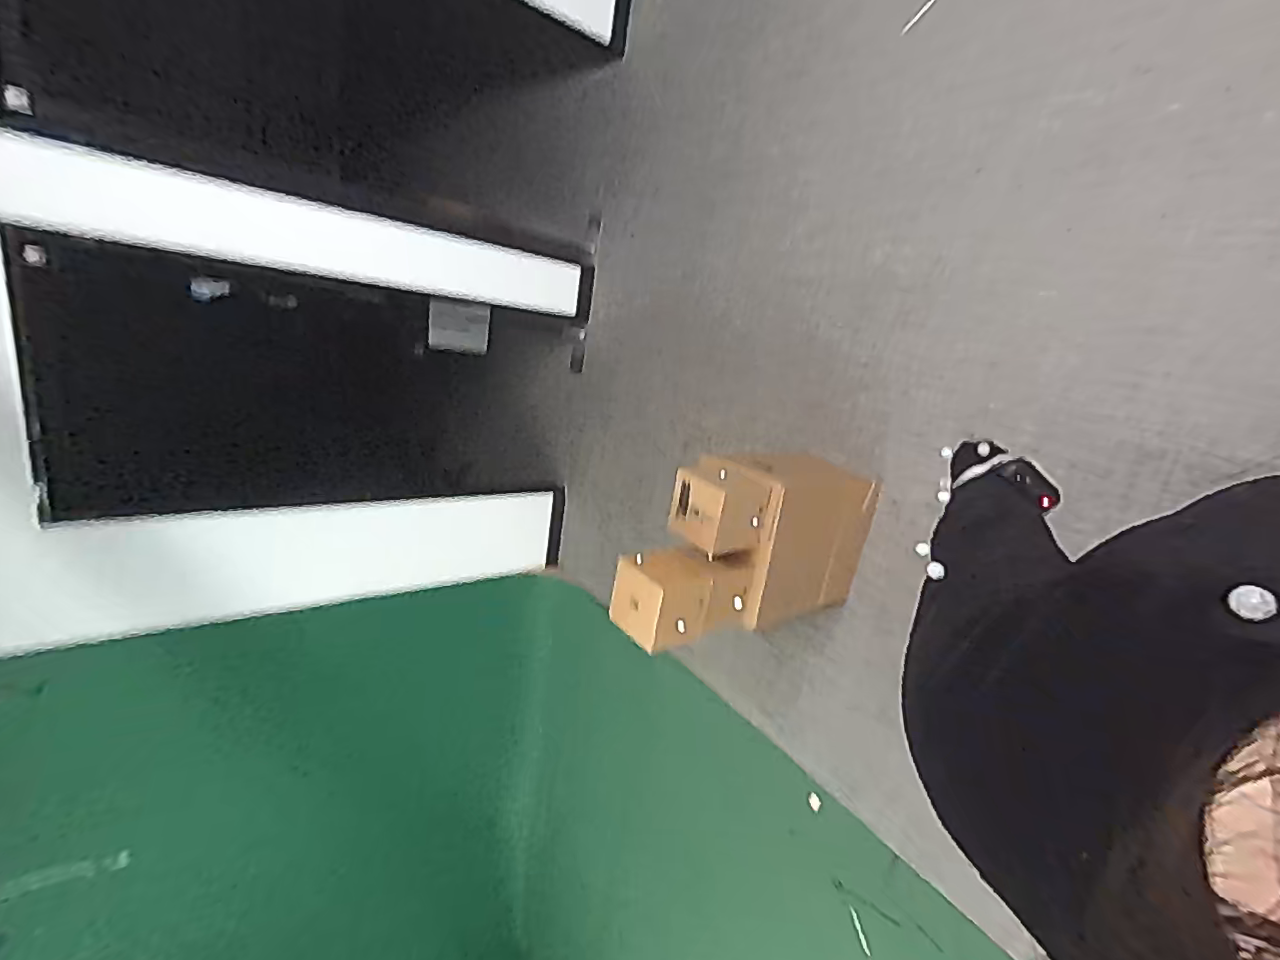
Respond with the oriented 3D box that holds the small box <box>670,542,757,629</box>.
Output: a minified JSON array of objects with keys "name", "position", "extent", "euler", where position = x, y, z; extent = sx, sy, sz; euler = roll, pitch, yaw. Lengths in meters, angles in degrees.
[{"name":"small box","position":[0.183,0.274,1.459],"extent":[0.179,0.176,0.168],"euler":[27,113,46]}]

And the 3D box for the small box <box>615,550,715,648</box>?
[{"name":"small box","position":[0.063,0.285,1.349],"extent":[0.179,0.176,0.168],"euler":[27,113,47]}]
